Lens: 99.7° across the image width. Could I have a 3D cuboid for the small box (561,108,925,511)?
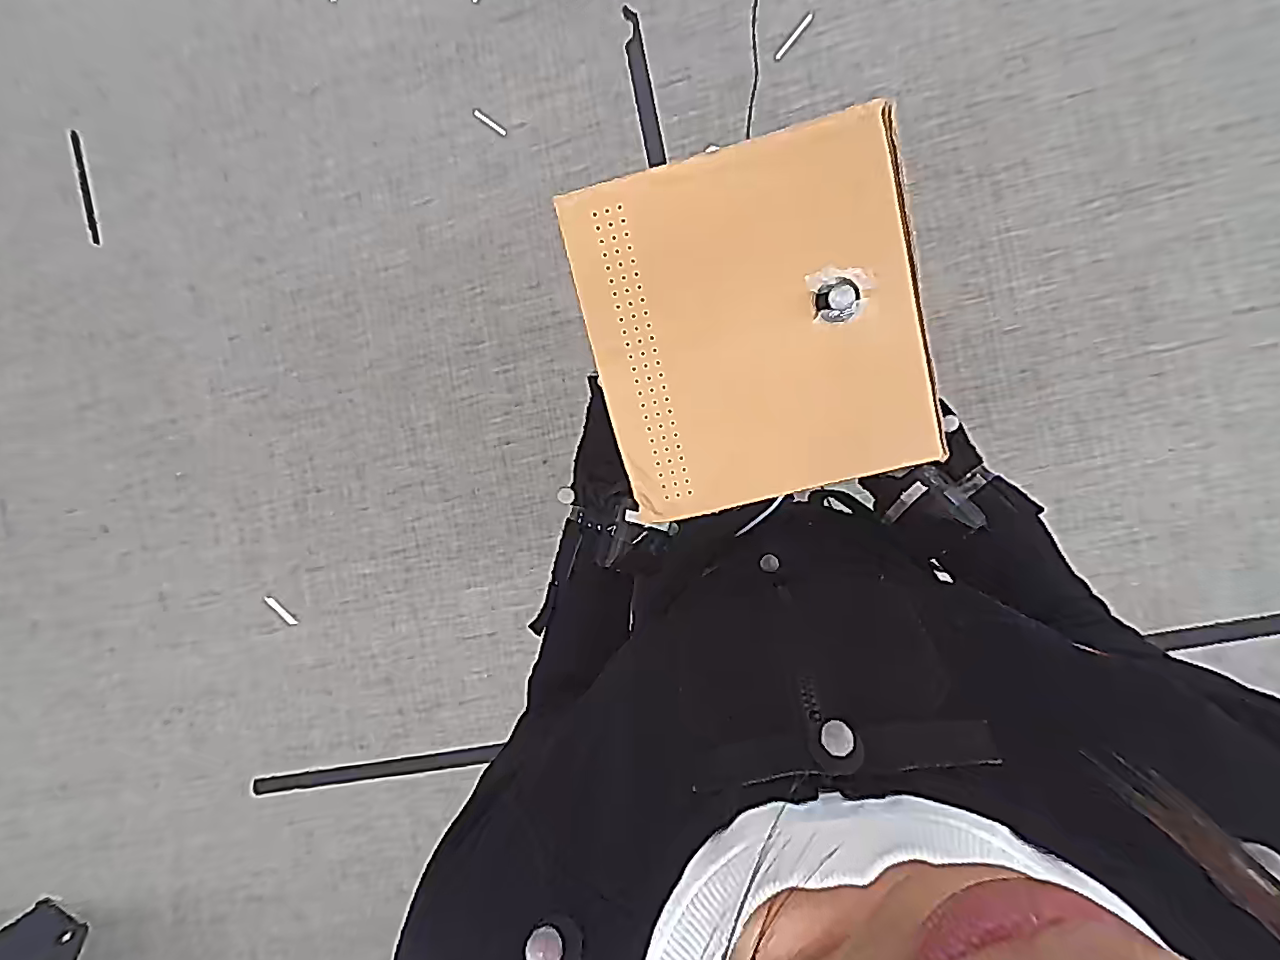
[{"bbox_3d":[0.057,-0.095,0.362,0.176,0.168,0.179,-13,100,6],"label":"small box"}]
